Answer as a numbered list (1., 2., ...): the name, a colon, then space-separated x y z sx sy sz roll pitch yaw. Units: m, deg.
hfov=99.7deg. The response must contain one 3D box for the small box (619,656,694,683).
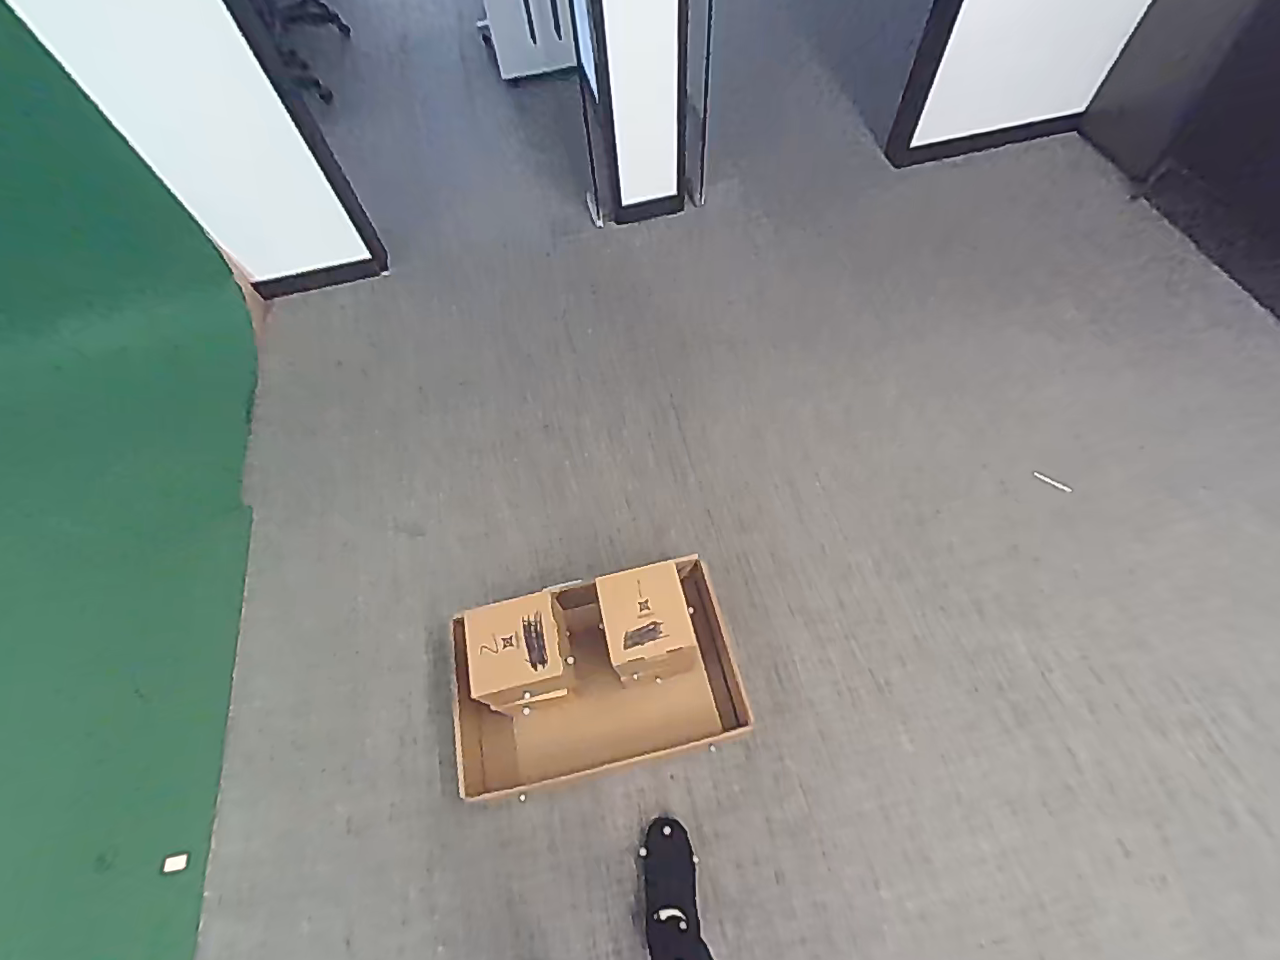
1. small box: 0.026 0.366 1.262 0.168 0.176 0.179 -13 62 -3

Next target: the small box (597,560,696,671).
1. small box: 0.016 0.288 1.117 0.168 0.176 0.179 -13 62 -3

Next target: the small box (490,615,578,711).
1. small box: -0.240 0.428 1.248 0.168 0.176 0.179 -9 61 -2
